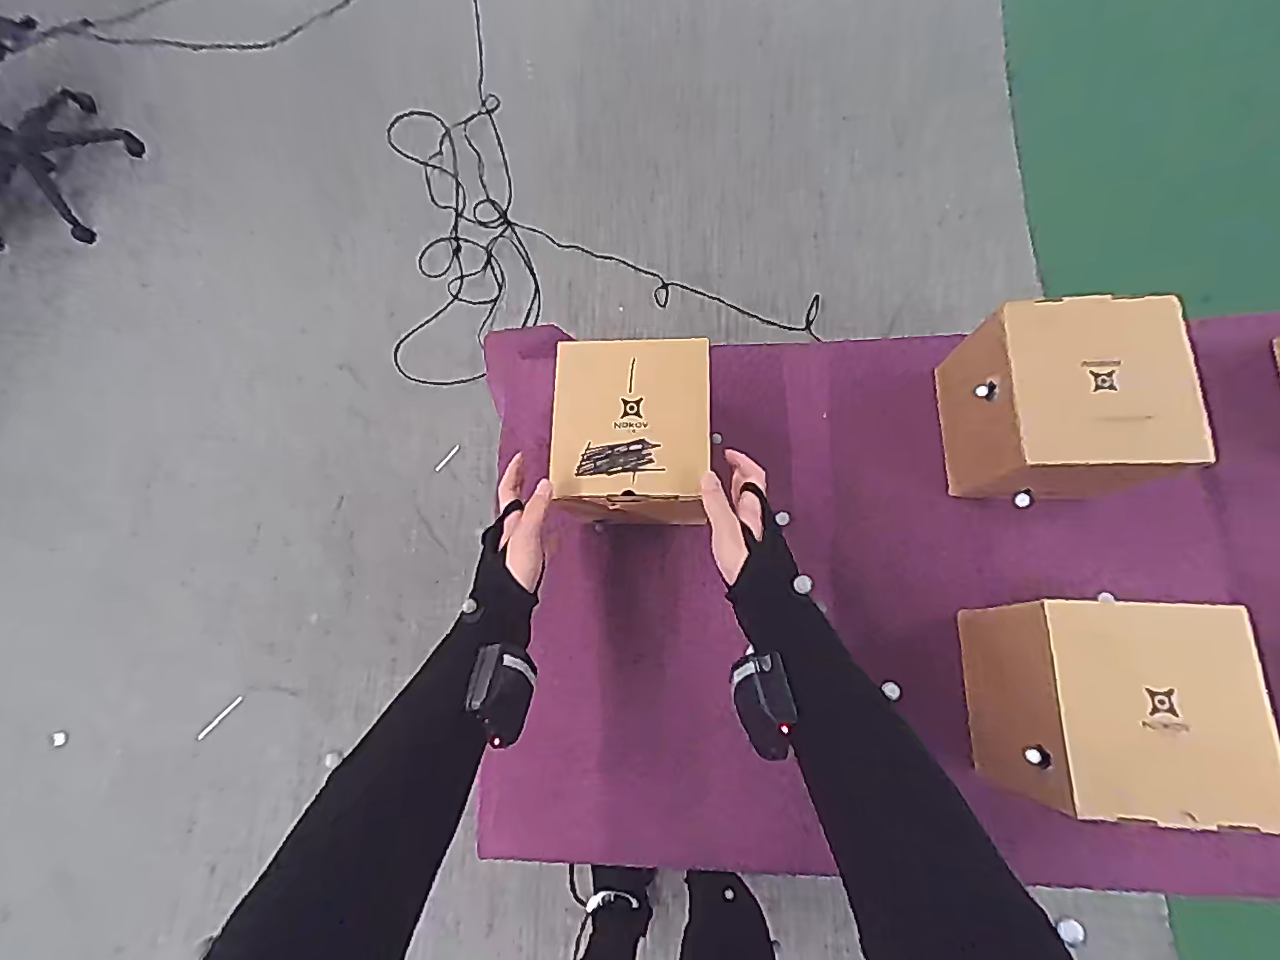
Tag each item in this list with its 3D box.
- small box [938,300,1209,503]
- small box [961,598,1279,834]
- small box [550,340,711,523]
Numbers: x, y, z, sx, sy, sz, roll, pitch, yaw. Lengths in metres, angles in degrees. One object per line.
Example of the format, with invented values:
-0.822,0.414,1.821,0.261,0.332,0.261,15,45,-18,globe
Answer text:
0.455,-0.078,0.603,0.168,0.176,0.179,0,77,6,small box
0.441,0.213,0.527,0.168,0.176,0.179,1,74,6,small box
0.000,-0.046,0.639,0.168,0.176,0.179,0,76,5,small box
